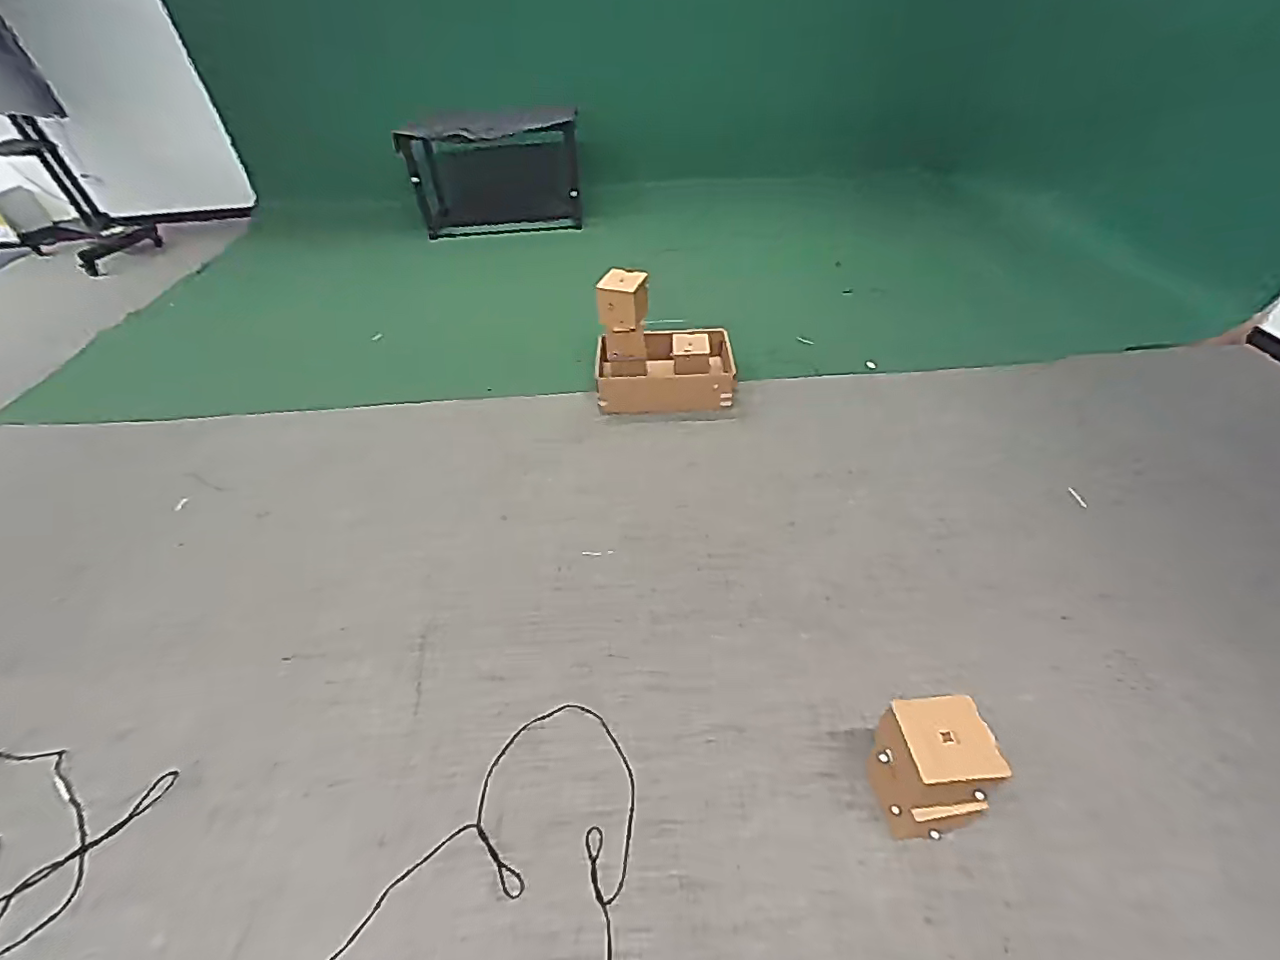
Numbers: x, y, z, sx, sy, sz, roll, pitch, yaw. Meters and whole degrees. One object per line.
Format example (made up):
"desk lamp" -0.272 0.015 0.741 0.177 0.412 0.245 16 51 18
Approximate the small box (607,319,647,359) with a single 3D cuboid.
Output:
"small box" -0.056 -0.649 2.402 0.168 0.176 0.179 -2 44 0

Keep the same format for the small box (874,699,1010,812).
"small box" 0.631 0.590 1.155 0.179 0.176 0.168 -5 43 -1

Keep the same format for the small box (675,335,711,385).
"small box" 0.247 -0.565 2.535 0.168 0.176 0.179 0 45 5

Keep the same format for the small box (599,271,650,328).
"small box" -0.059 -0.761 2.283 0.168 0.176 0.179 13 46 16

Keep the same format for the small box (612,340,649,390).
"small box" -0.044 -0.540 2.524 0.168 0.176 0.179 -4 44 0
